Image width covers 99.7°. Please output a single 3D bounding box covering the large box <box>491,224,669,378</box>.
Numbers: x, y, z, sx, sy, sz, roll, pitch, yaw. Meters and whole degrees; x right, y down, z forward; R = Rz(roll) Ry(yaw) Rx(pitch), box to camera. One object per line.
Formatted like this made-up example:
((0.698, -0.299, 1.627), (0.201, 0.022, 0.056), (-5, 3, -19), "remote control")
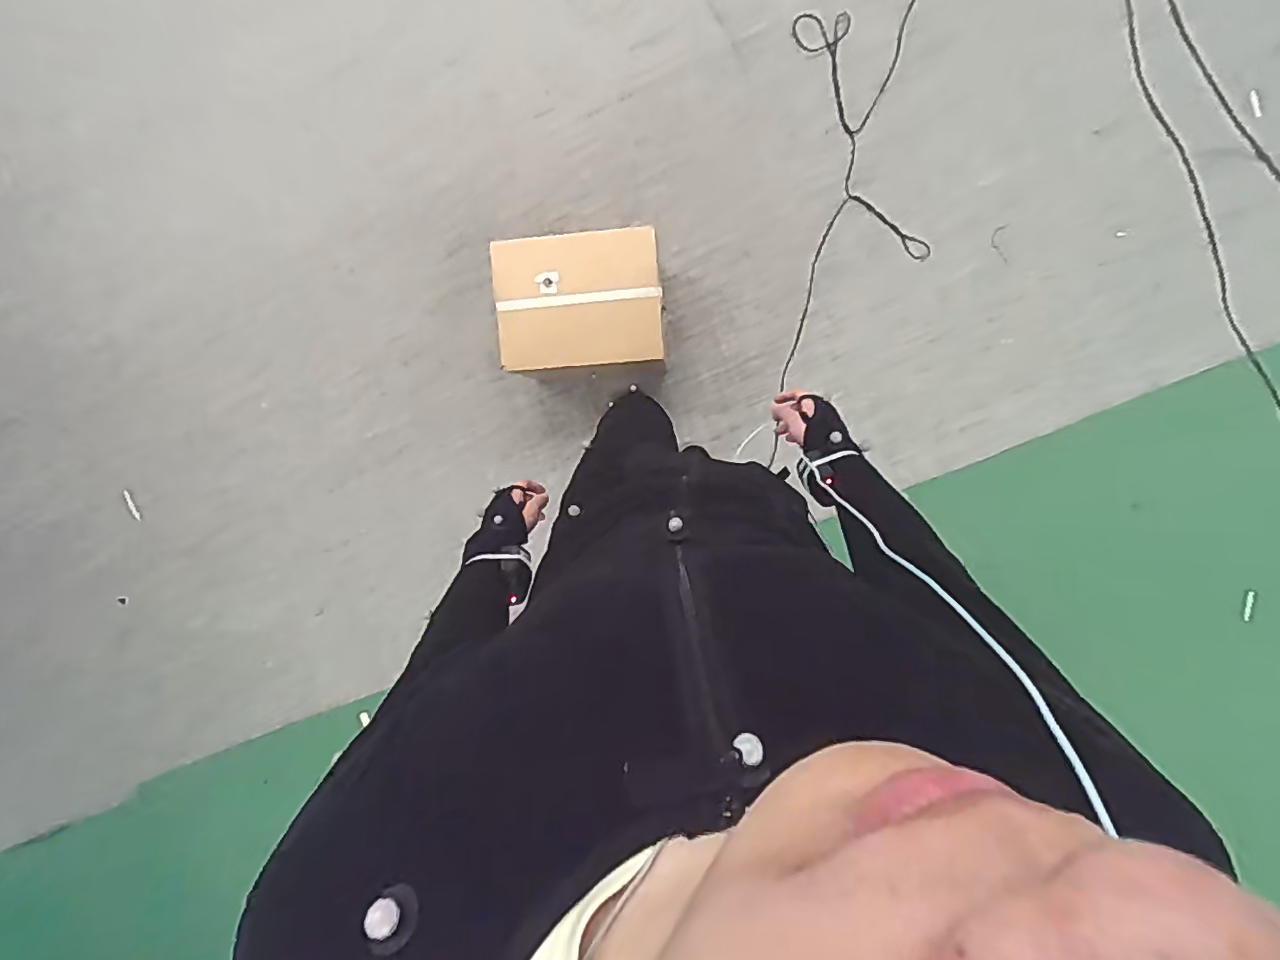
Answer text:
((-0.138, -0.452, 1.449), (0.408, 0.320, 0.320), (-4, 95, 6), "large box")
